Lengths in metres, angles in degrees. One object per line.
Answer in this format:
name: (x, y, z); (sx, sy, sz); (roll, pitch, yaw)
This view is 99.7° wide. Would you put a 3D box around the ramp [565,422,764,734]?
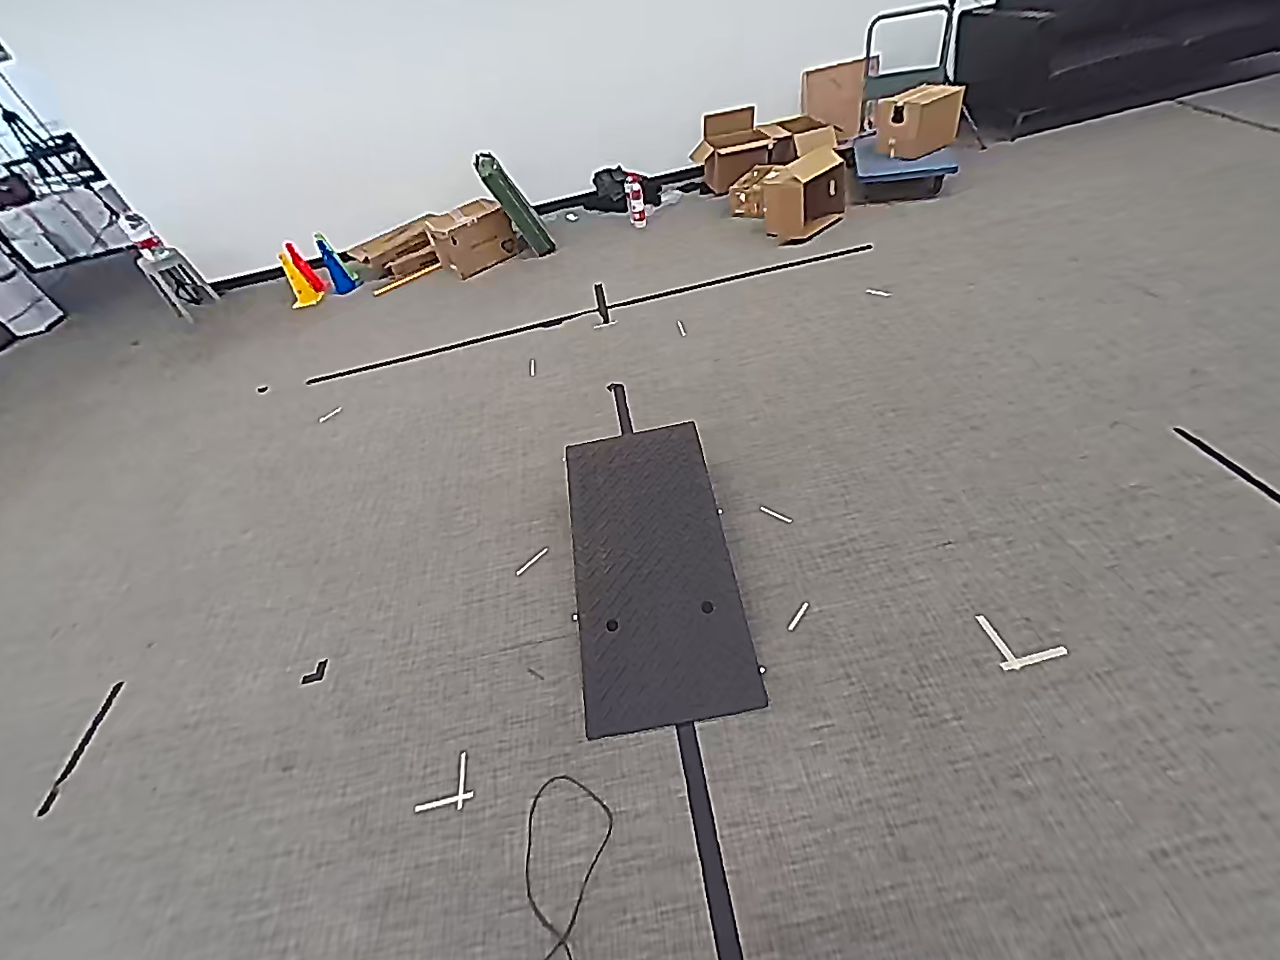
ramp: (0.029, 0.234, 1.718); (0.509, 0.206, 0.991); (-12, 45, 0)
